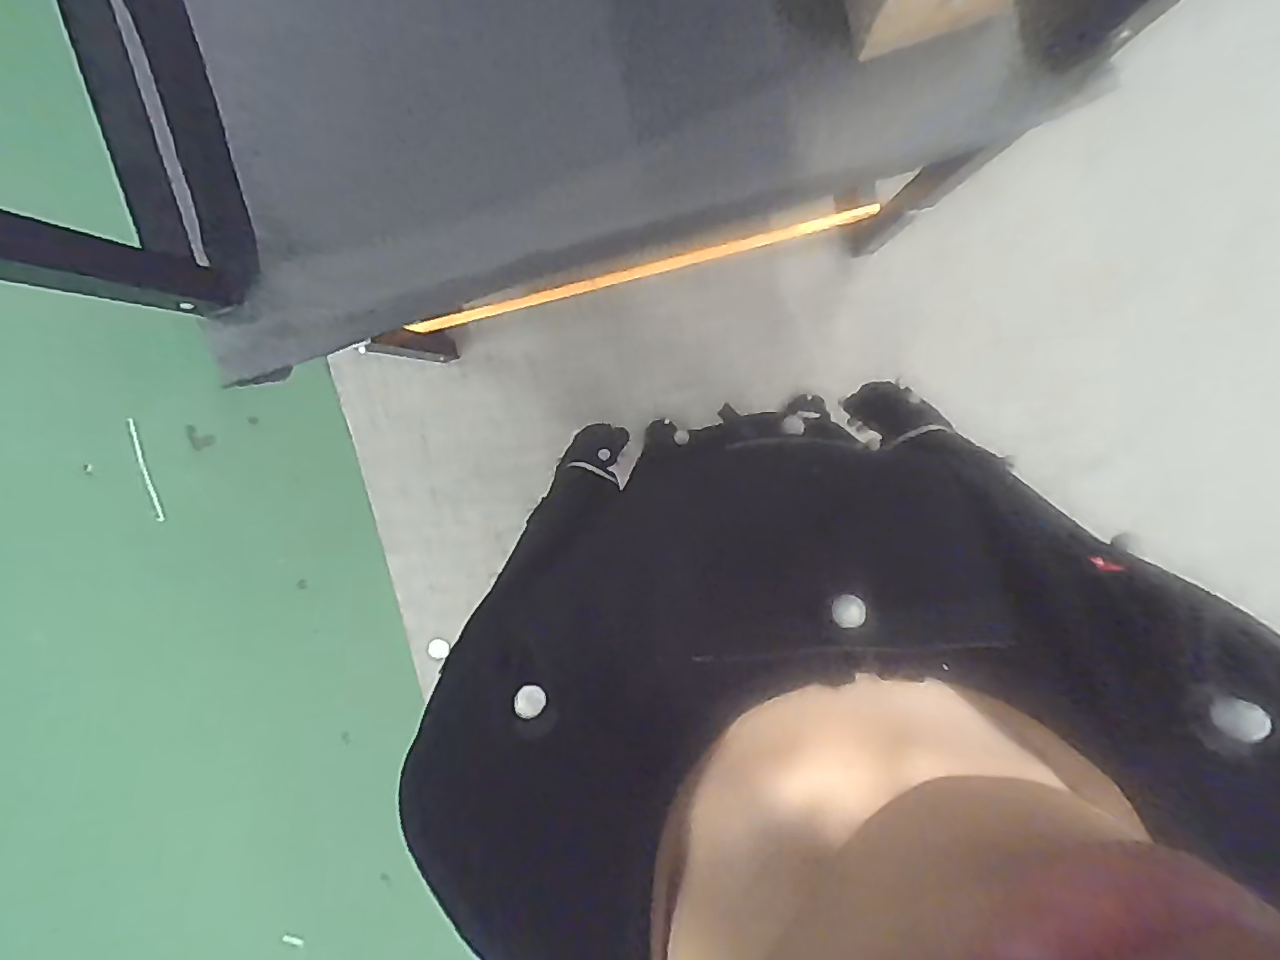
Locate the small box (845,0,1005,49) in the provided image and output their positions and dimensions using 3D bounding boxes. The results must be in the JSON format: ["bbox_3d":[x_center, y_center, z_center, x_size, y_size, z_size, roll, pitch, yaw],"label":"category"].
[{"bbox_3d":[0.315,-0.595,0.558,0.168,0.176,0.179,-14,96,6],"label":"small box"}]
